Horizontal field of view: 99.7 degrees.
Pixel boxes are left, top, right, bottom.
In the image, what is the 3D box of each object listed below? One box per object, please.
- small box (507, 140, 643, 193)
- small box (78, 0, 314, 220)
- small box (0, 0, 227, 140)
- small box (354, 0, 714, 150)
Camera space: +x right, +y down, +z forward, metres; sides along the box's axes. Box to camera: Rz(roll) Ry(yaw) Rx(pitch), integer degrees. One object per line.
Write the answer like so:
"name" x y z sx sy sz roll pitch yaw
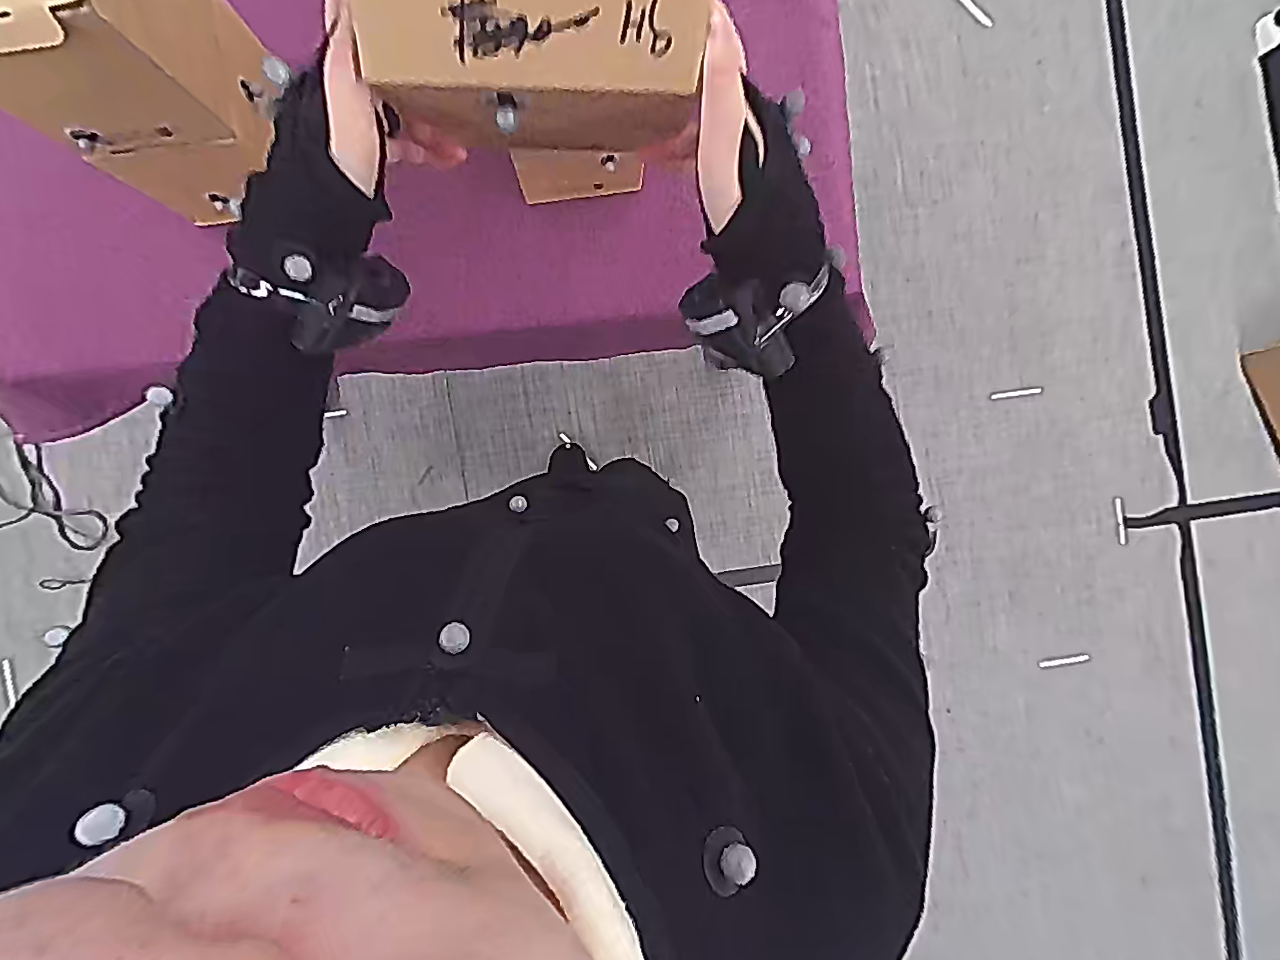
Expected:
"small box" -0.085 -0.485 0.681 0.168 0.176 0.179 -8 92 -3
"small box" -0.533 -0.448 0.659 0.168 0.176 0.179 -9 93 -3
"small box" -0.525 -0.443 0.494 0.168 0.176 0.179 -10 92 -3
"small box" -0.048 -0.304 0.299 0.168 0.176 0.179 1 112 -2
